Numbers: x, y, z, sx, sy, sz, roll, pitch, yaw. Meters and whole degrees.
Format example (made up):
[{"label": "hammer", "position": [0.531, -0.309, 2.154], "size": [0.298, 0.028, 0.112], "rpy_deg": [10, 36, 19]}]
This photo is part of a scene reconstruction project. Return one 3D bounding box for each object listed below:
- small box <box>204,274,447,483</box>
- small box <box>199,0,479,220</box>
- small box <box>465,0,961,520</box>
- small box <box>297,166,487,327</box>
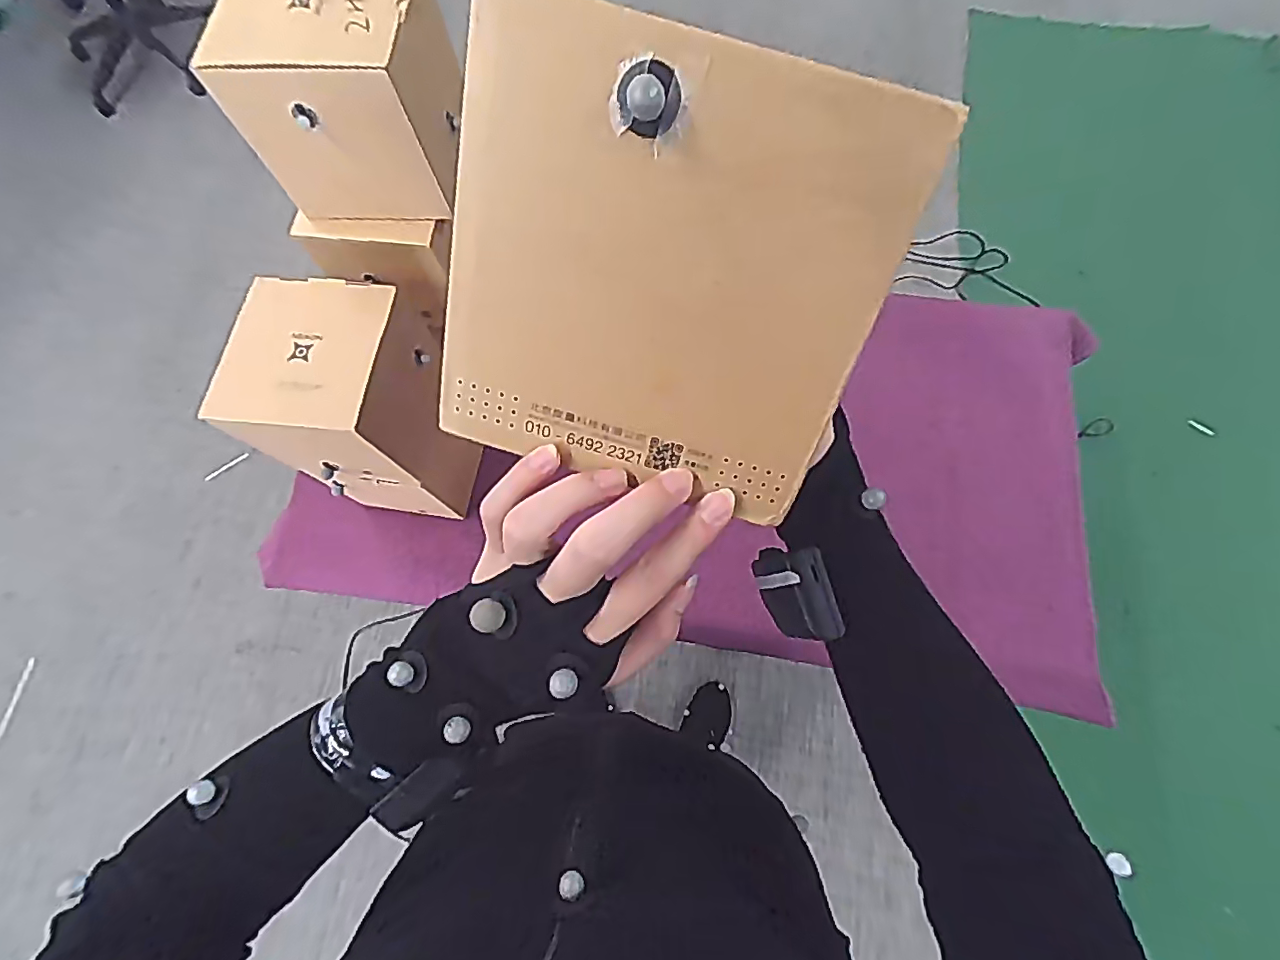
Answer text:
[{"label": "small box", "position": [-0.347, -0.112, 0.642], "size": [0.168, 0.176, 0.179], "rpy_deg": [6, 72, 4]}, {"label": "small box", "position": [-0.288, -0.398, 0.563], "size": [0.179, 0.176, 0.168], "rpy_deg": [2, 72, 2]}, {"label": "small box", "position": [0.020, -0.107, 0.289], "size": [0.168, 0.179, 0.176], "rpy_deg": [17, 118, 1]}, {"label": "small box", "position": [-0.300, -0.323, 0.712], "size": [0.168, 0.176, 0.179], "rpy_deg": [5, 71, 3]}]
